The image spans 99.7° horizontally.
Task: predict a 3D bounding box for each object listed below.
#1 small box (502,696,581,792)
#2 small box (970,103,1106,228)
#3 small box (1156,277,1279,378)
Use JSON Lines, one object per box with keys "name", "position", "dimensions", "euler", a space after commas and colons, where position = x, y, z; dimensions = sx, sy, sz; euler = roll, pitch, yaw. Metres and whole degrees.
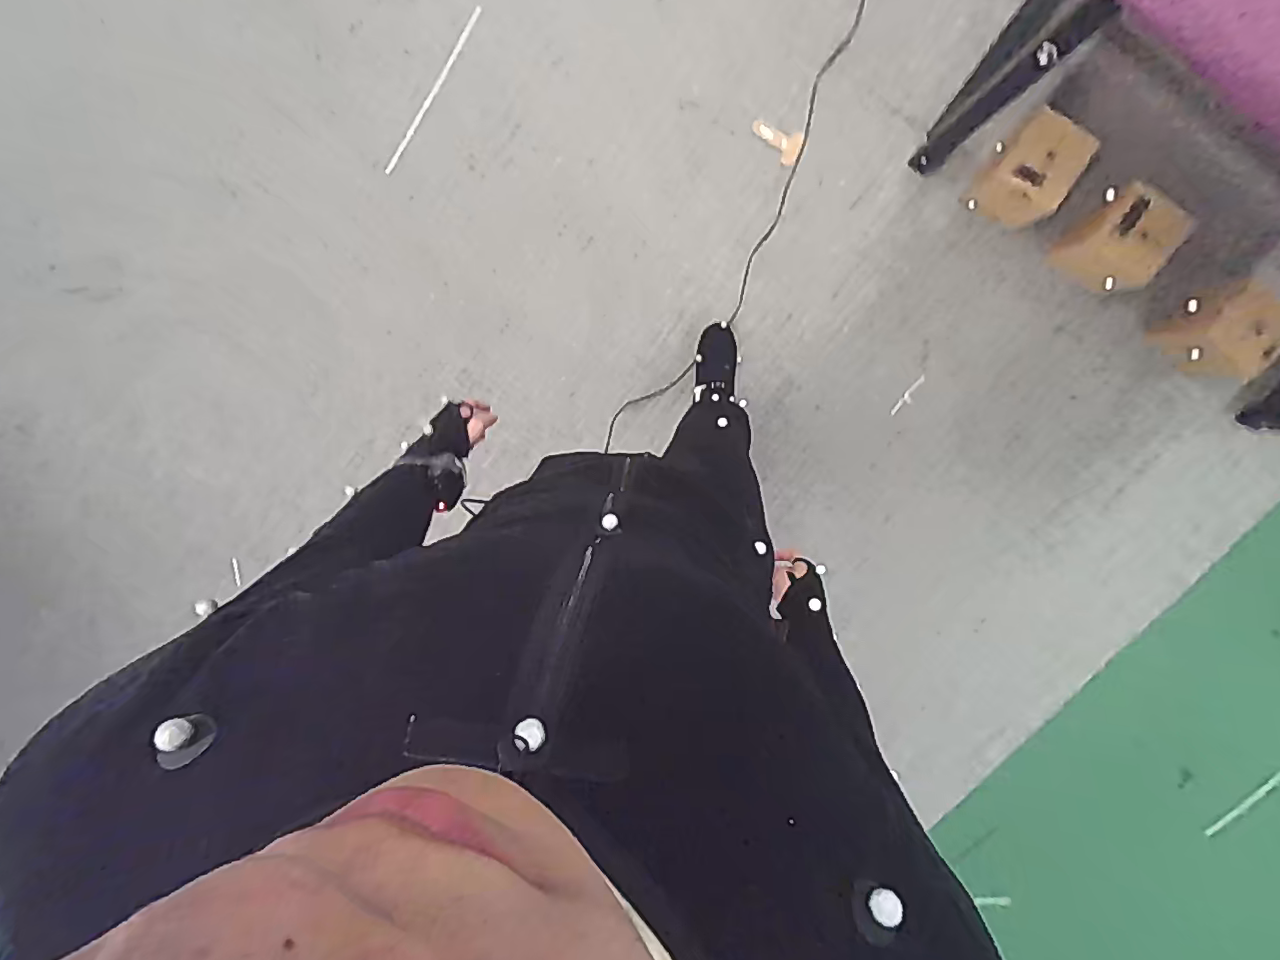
{"name": "small box", "position": [-0.298, 0.818, 1.693], "dimensions": [0.168, 0.176, 0.179], "euler": [33, 102, -2]}
{"name": "small box", "position": [0.937, -0.741, 1.299], "dimensions": [0.168, 0.176, 0.179], "euler": [32, 101, -2]}
{"name": "small box", "position": [1.452, -0.365, 1.331], "dimensions": [0.179, 0.176, 0.168], "euler": [39, 101, -3]}
